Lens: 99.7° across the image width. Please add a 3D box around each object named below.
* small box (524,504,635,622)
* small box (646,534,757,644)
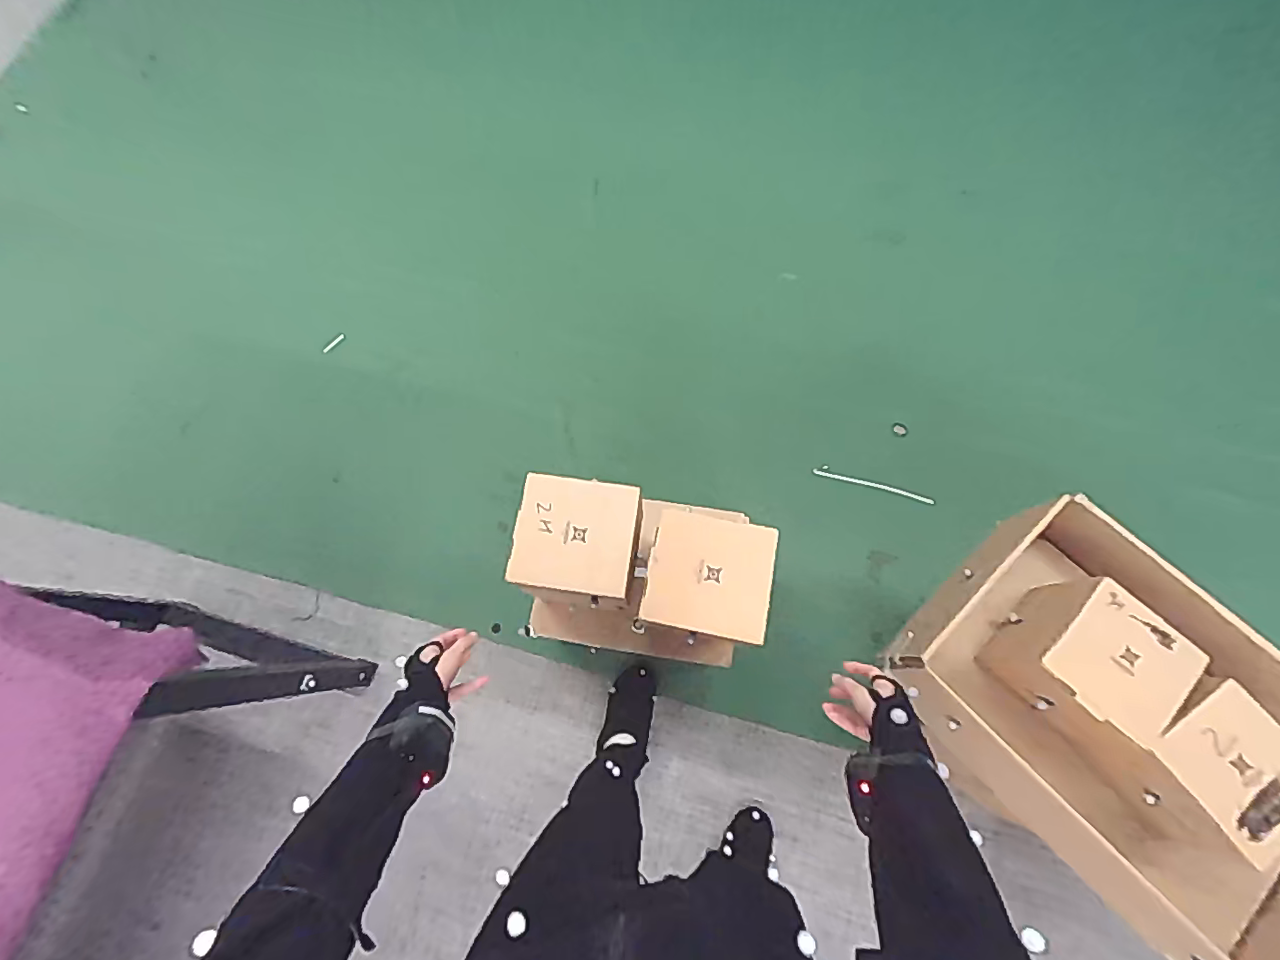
[{"bbox_3d":[-0.104,0.162,1.019,0.168,0.176,0.179,9,73,5],"label":"small box"},{"bbox_3d":[0.110,0.206,0.995,0.179,0.176,0.168,7,73,5],"label":"small box"}]
